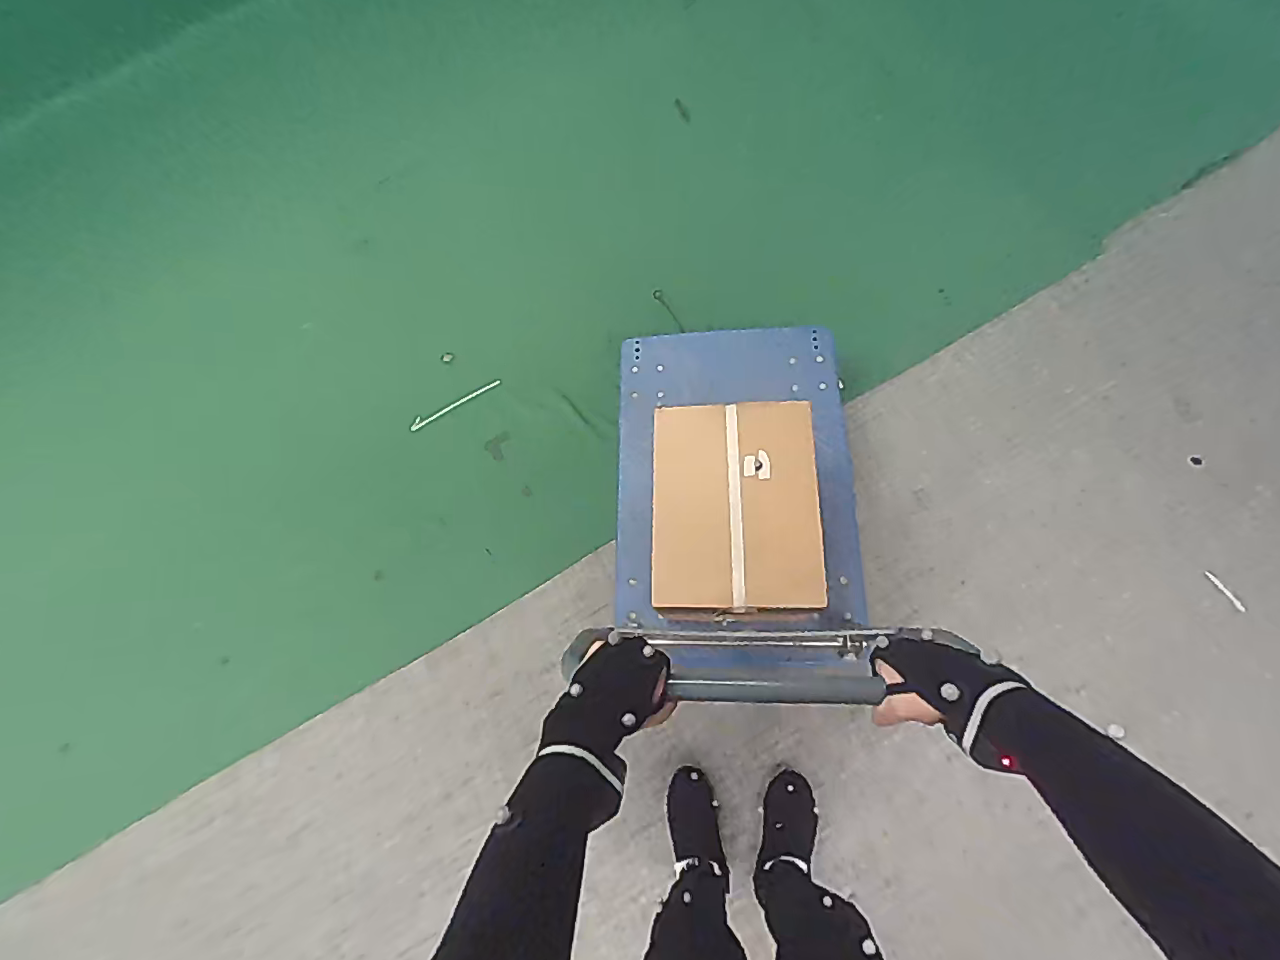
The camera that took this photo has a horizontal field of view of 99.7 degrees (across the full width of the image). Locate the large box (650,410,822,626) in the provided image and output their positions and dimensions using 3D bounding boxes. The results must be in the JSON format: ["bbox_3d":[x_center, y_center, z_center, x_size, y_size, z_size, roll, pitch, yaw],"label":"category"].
[{"bbox_3d":[0.197,0.102,1.186,0.320,0.320,0.408,-2,70,7],"label":"large box"}]
